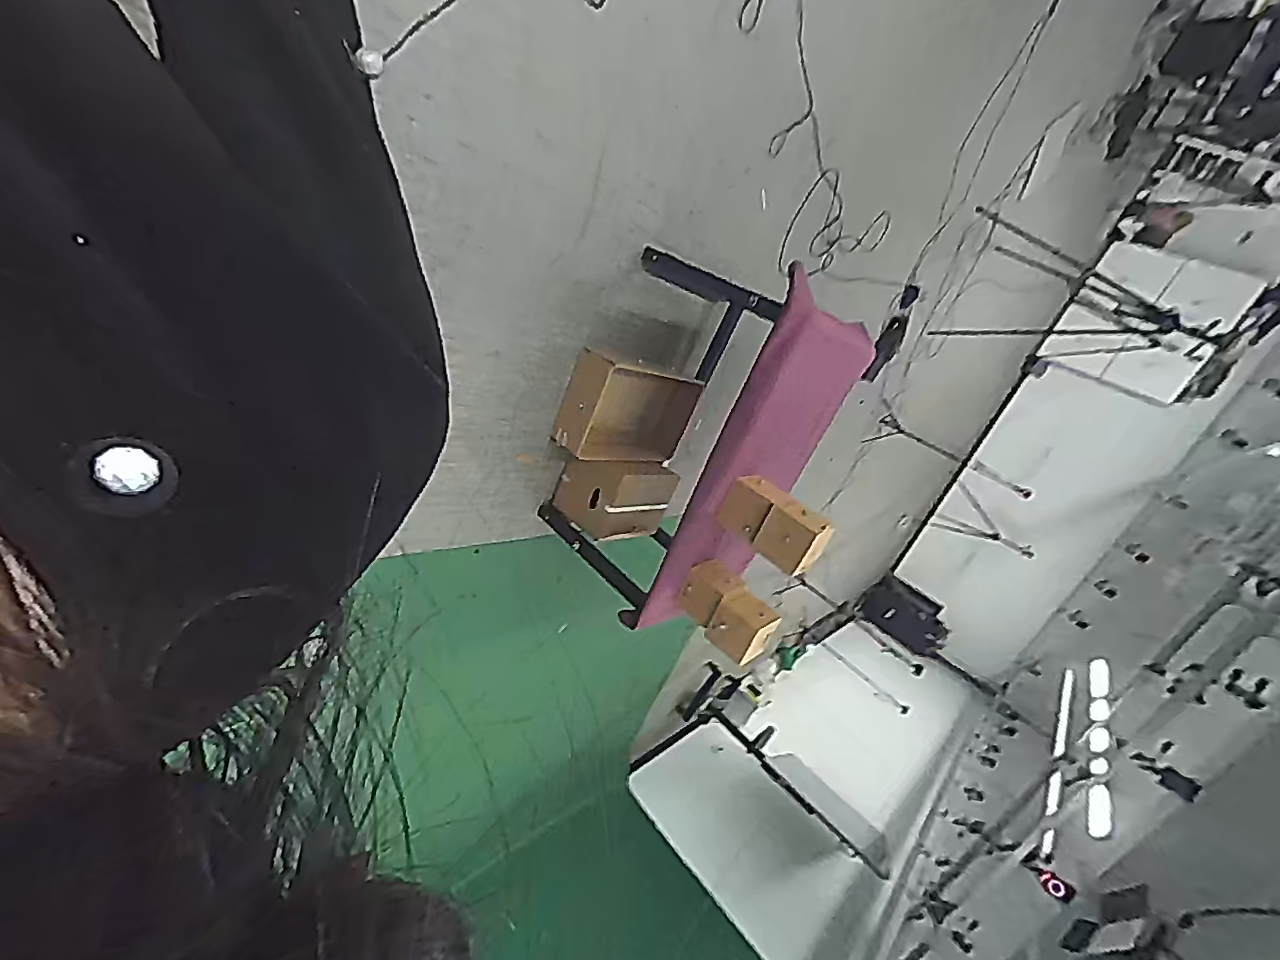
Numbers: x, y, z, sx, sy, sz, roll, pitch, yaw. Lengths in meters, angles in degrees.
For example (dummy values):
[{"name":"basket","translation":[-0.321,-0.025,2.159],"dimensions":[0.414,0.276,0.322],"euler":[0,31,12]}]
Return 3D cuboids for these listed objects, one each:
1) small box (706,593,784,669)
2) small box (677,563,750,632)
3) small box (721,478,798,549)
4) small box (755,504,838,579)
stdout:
[{"name":"small box","translation":[0.366,0.521,1.896],"dimensions":[0.179,0.176,0.168],"euler":[-6,123,-50]},{"name":"small box","translation":[0.268,0.423,1.987],"dimensions":[0.179,0.176,0.168],"euler":[-6,124,-50]},{"name":"small box","translation":[0.401,0.109,1.853],"dimensions":[0.168,0.176,0.179],"euler":[-4,124,-51]},{"name":"small box","translation":[0.502,0.190,1.750],"dimensions":[0.168,0.176,0.179],"euler":[-5,124,-50]}]
